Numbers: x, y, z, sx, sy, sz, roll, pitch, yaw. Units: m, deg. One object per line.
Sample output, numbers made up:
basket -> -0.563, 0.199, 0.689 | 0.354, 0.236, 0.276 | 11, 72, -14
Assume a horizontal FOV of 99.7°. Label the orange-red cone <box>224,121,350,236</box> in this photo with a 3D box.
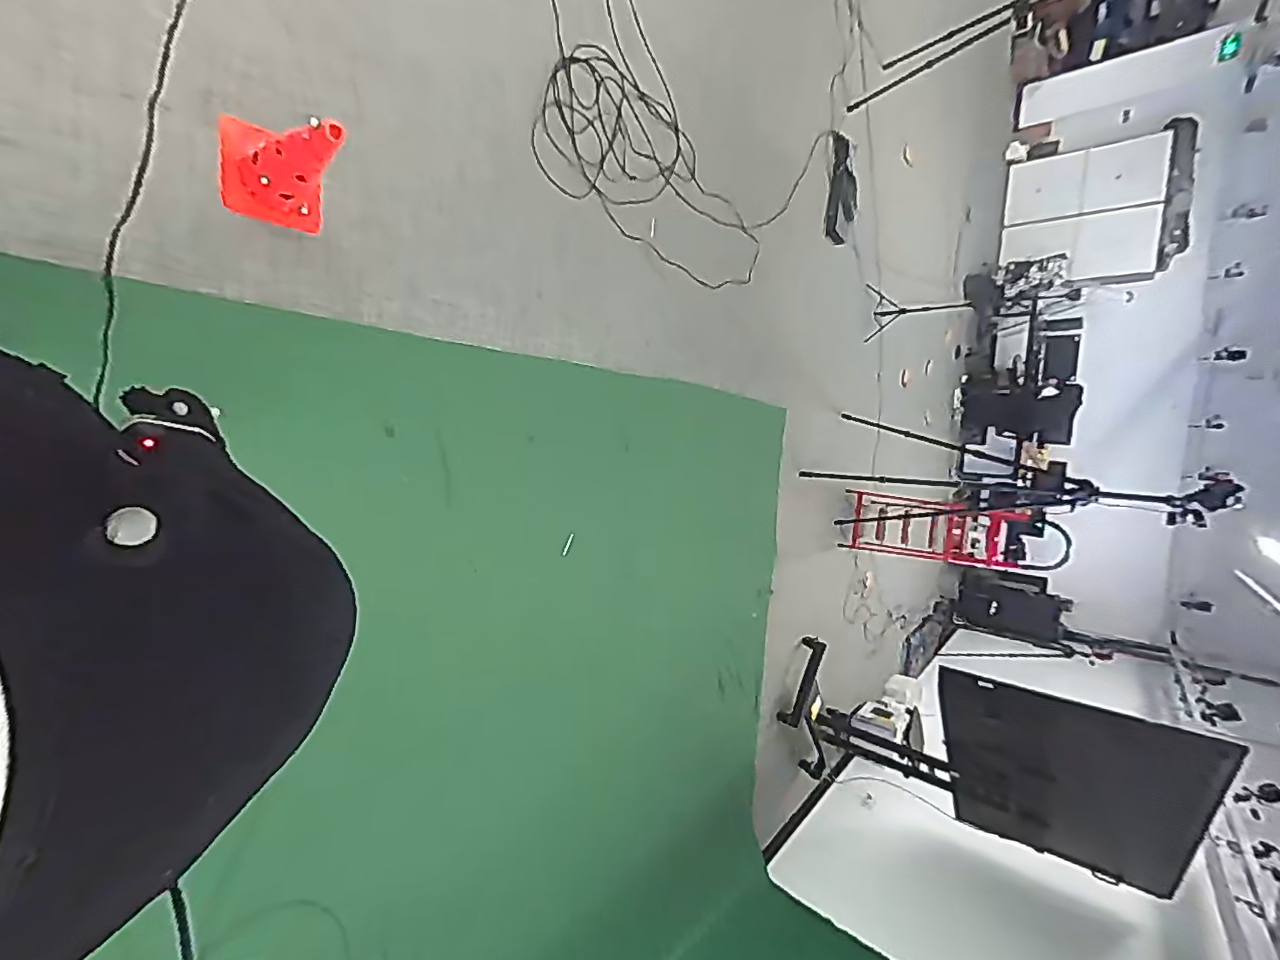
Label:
orange-red cone -> -0.707, -0.674, 1.137 | 0.198, 0.360, 0.199 | -2, 96, -50
